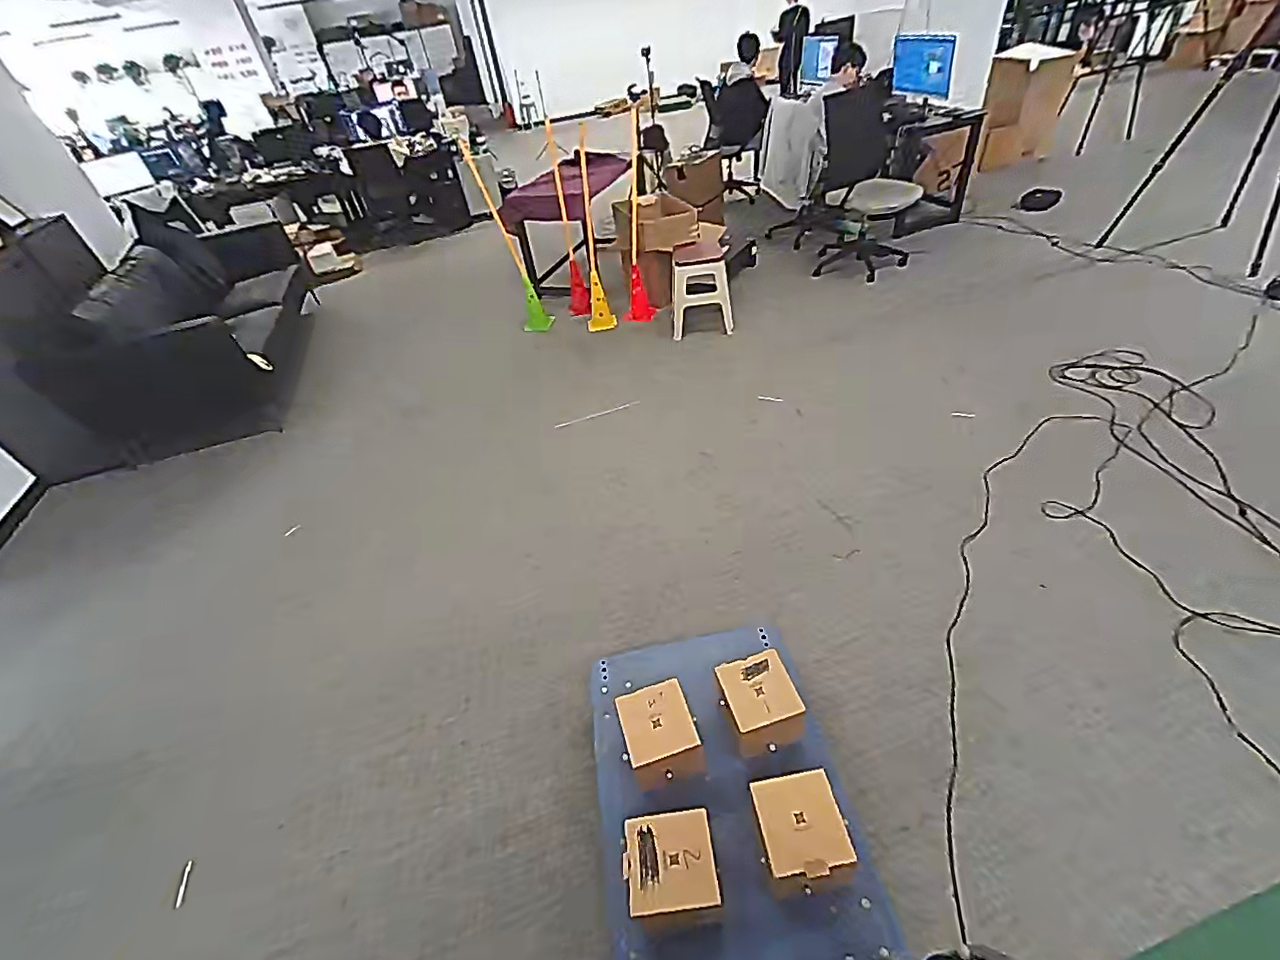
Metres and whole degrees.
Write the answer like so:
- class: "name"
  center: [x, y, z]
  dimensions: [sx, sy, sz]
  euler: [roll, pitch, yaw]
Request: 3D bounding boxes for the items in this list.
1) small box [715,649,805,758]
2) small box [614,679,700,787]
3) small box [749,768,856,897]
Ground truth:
- class: "small box"
  center: [0.295, 0.565, 1.366]
  dimensions: [0.168, 0.176, 0.179]
  euler: [-16, 42, -7]
- class: "small box"
  center: [0.045, 0.631, 1.336]
  dimensions: [0.168, 0.176, 0.179]
  euler: [-15, 41, -8]
- class: "small box"
  center: [0.334, 0.750, 1.152]
  dimensions: [0.168, 0.176, 0.179]
  euler: [-11, 42, -2]
